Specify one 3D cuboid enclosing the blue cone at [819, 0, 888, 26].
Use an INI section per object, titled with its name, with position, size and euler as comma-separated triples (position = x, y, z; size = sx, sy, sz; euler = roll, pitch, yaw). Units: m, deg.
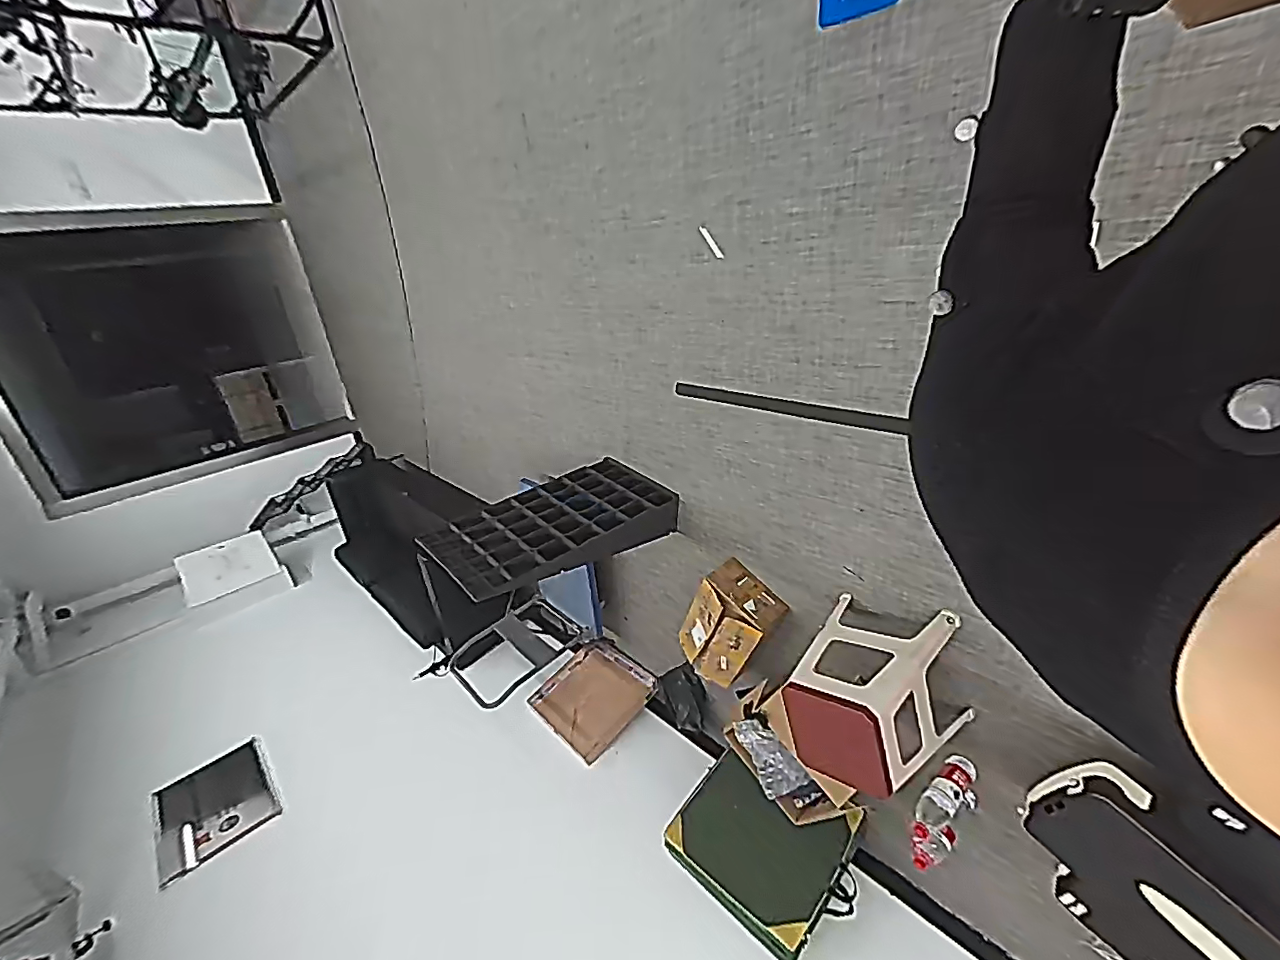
[blue cone]
position = 0.375, -1.118, 1.136
size = 0.192, 0.380, 0.193
euler = 24, 128, 43
